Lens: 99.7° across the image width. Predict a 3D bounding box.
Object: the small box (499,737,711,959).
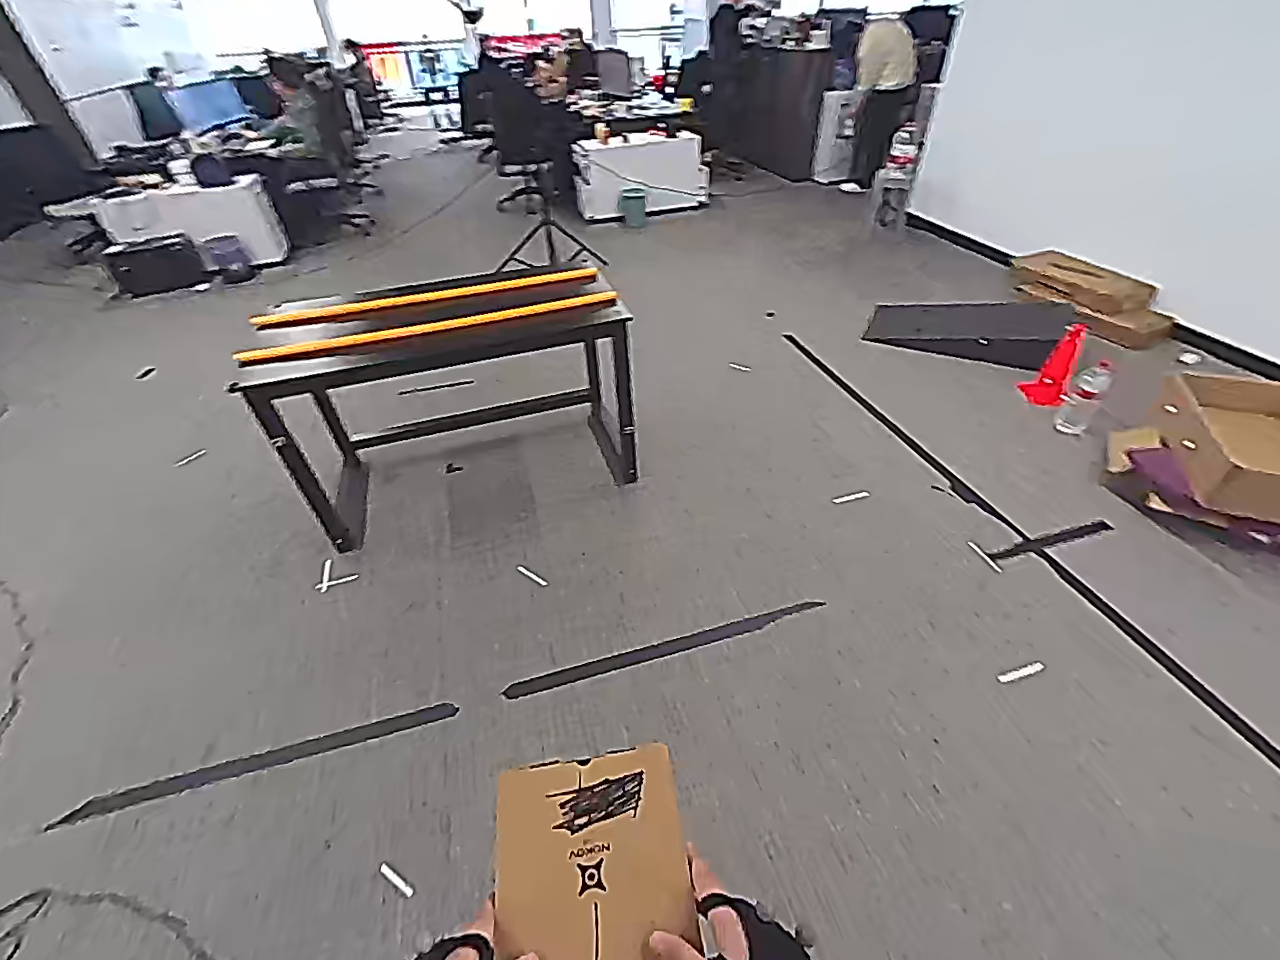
[{"bbox_3d":[-0.034,0.380,0.524,0.168,0.176,0.179,-9,47,-4],"label":"small box"}]
